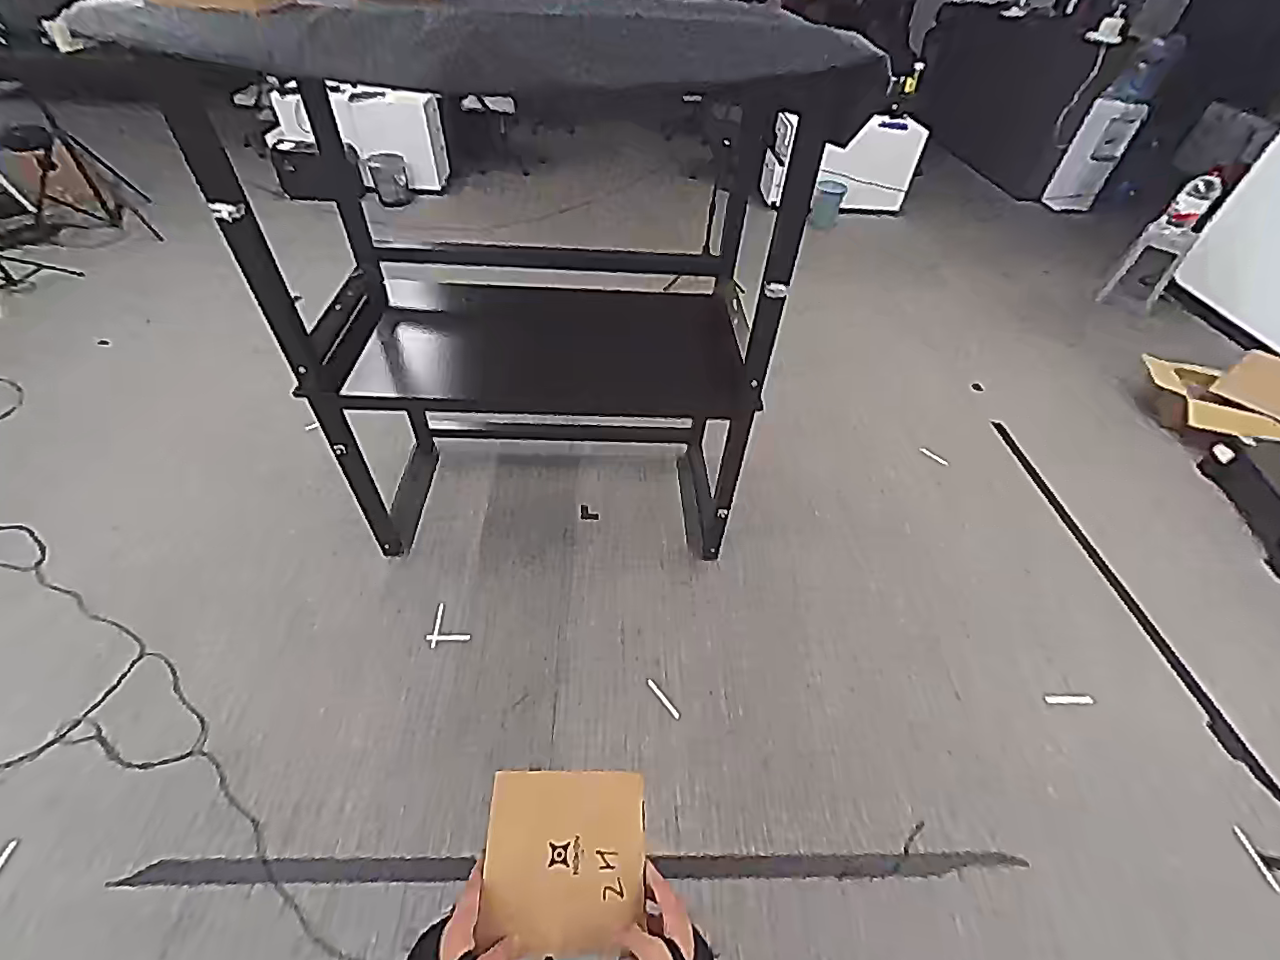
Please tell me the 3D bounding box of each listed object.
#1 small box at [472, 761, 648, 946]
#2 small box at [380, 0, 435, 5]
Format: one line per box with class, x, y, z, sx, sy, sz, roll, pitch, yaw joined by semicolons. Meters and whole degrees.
small box;-0.091;0.441;0.641;0.179;0.176;0.168;5;52;-9
small box;-0.506;-1.085;1.091;0.168;0.176;0.179;-5;47;-7
